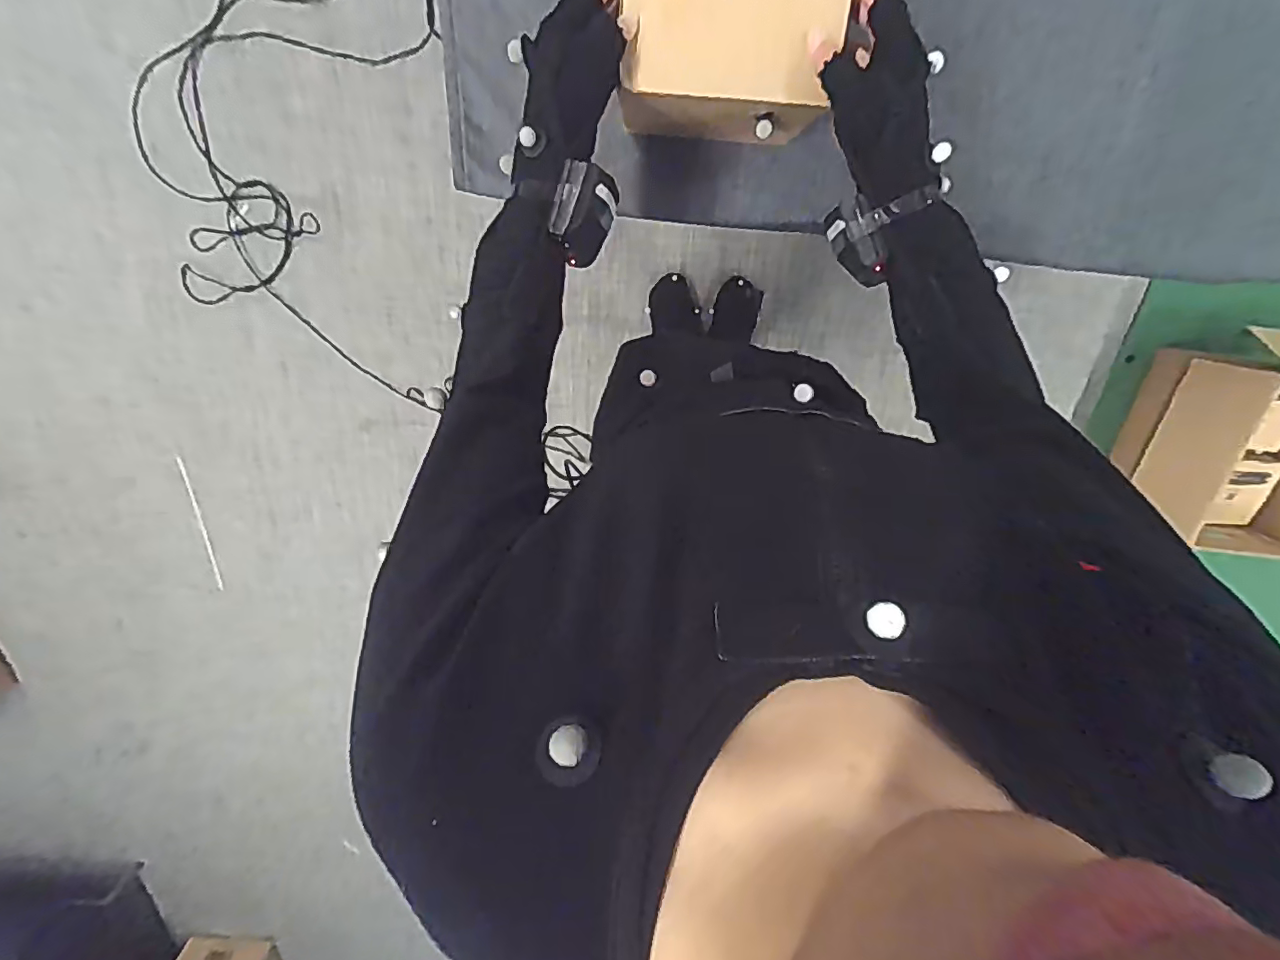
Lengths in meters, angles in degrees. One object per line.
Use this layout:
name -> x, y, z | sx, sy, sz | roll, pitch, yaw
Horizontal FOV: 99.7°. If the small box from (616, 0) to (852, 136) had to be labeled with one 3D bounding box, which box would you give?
small box -> 0.075, -0.410, 0.466 | 0.179, 0.176, 0.168 | 4, 113, 0
